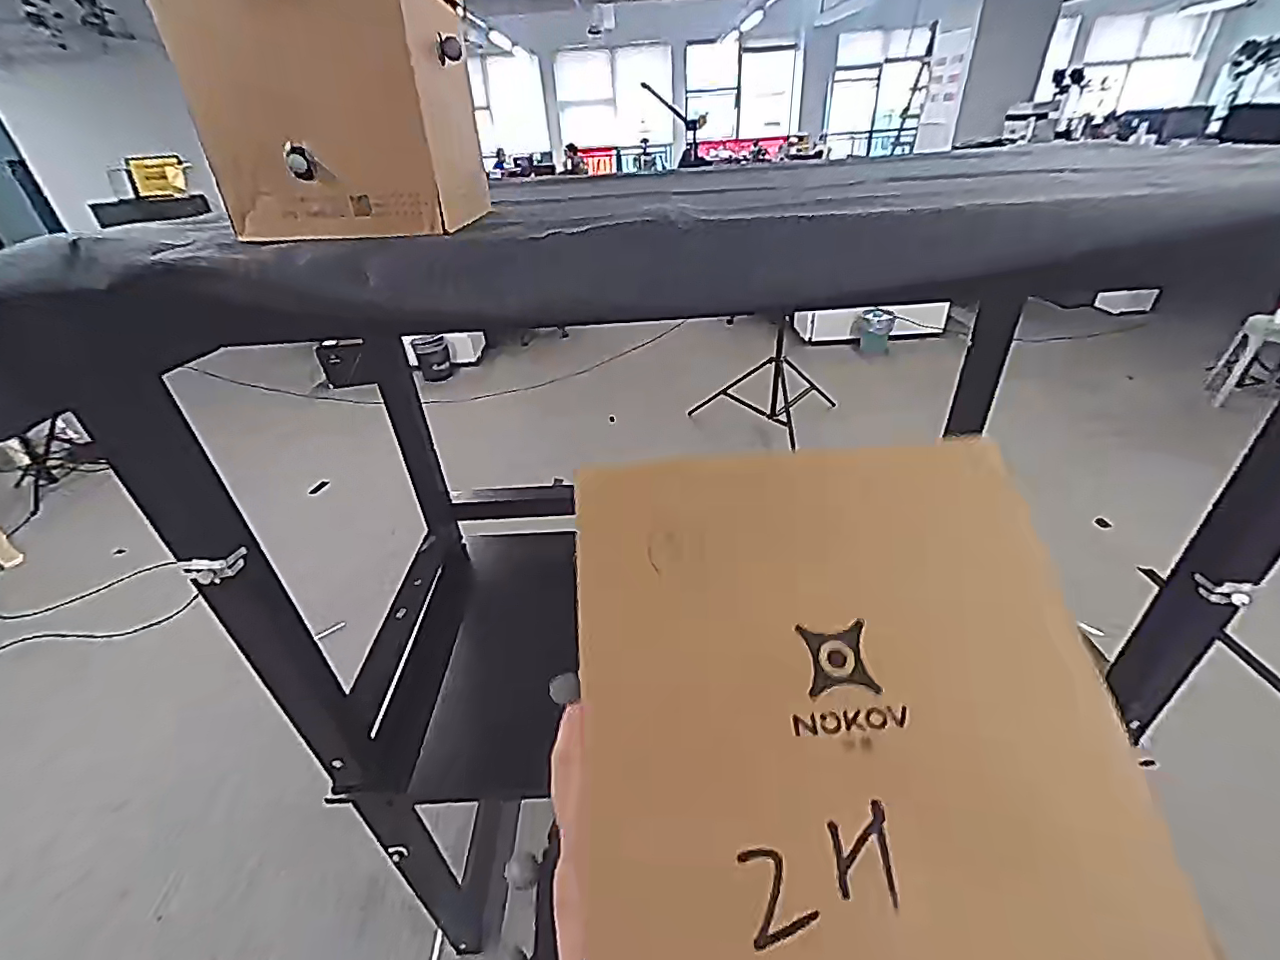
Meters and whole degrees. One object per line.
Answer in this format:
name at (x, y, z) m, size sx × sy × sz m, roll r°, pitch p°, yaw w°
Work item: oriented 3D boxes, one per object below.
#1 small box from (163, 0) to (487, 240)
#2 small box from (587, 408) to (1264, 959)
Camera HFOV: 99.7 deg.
small box at (-0.235, -0.305, 0.454) m, size 0.168 × 0.176 × 0.179 m, roll -3°, pitch 32°, yaw 0°
small box at (0.067, 0.091, 0.238) m, size 0.168 × 0.176 × 0.179 m, roll -5°, pitch 64°, yaw -1°
